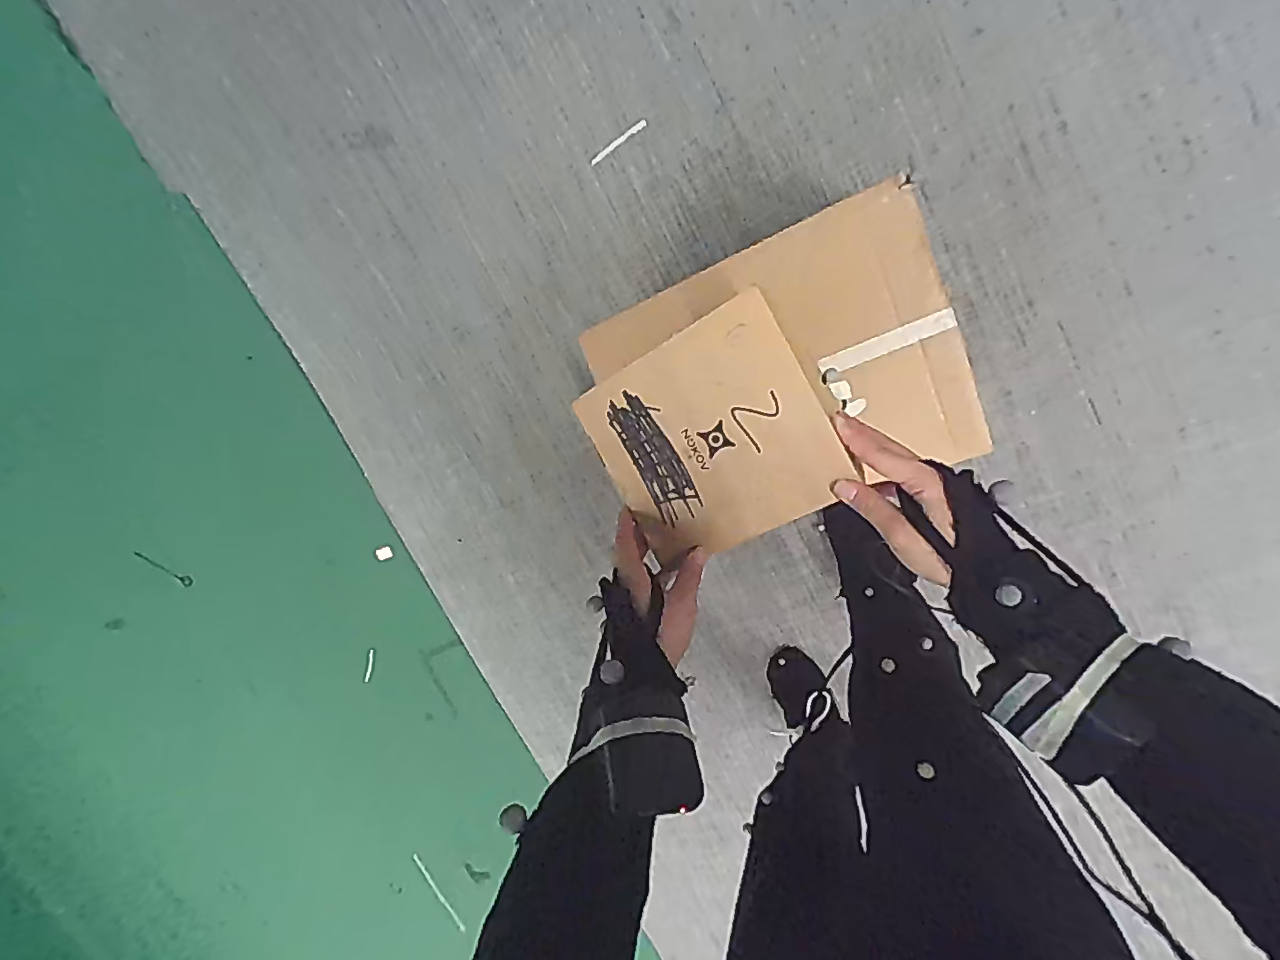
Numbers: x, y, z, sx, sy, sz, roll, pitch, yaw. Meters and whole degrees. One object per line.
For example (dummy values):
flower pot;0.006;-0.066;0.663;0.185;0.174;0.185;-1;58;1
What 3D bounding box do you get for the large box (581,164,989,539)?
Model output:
large box;0.194;-0.161;0.778;0.408;0.320;0.320;-20;101;22
